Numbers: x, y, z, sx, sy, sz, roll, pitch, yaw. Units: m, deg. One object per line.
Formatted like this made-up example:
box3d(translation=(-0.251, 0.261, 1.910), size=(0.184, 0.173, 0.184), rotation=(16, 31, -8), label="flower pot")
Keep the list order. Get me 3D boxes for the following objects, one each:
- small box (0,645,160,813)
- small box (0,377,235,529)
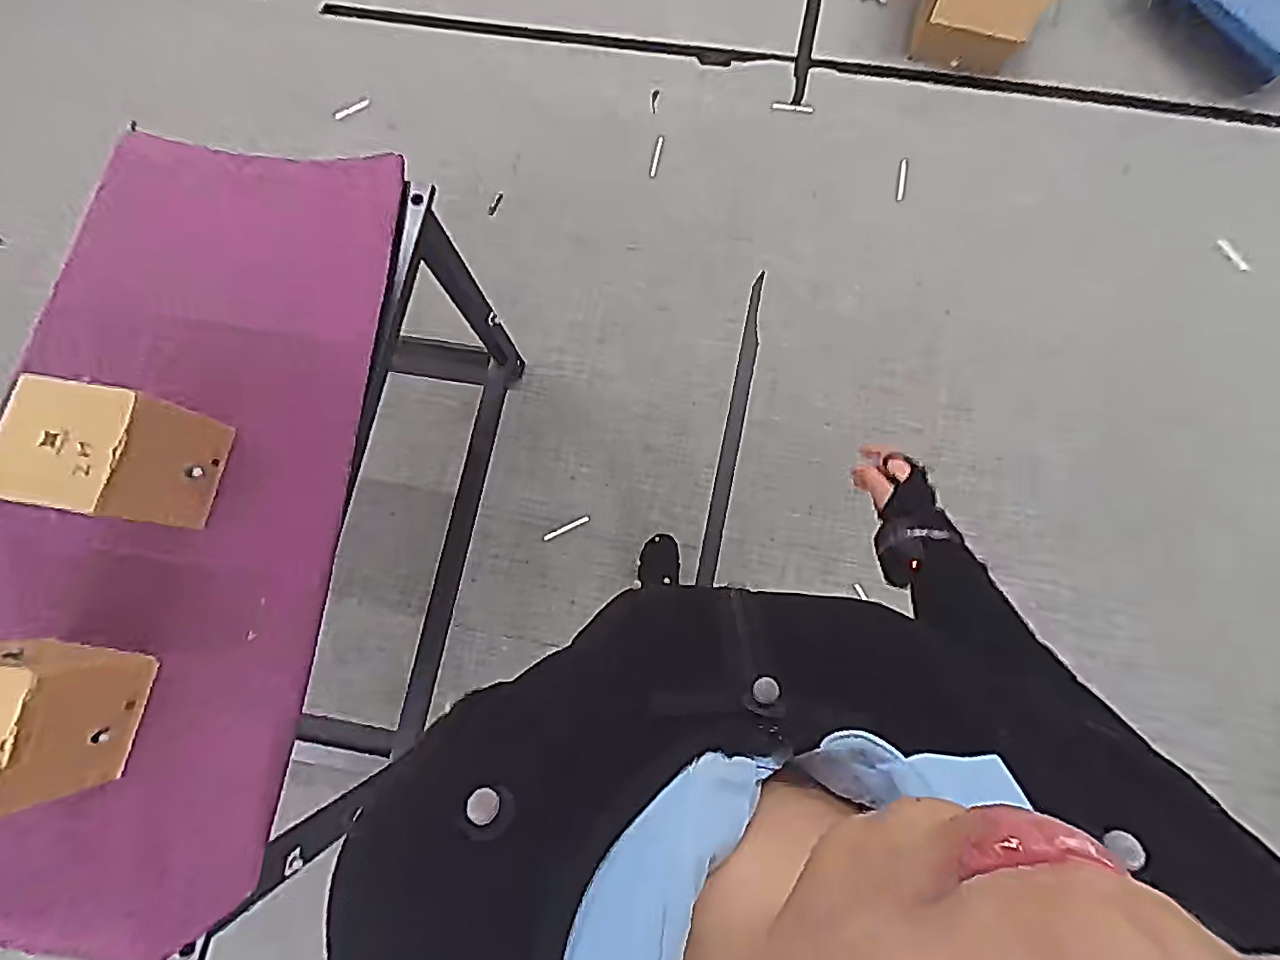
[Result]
box3d(translation=(-0.800, 0.313, 0.702), size=(0.179, 0.176, 0.168), rotation=(8, 77, 3), label="small box")
box3d(translation=(-0.743, -0.029, 0.773), size=(0.179, 0.176, 0.168), rotation=(9, 79, 4), label="small box")
